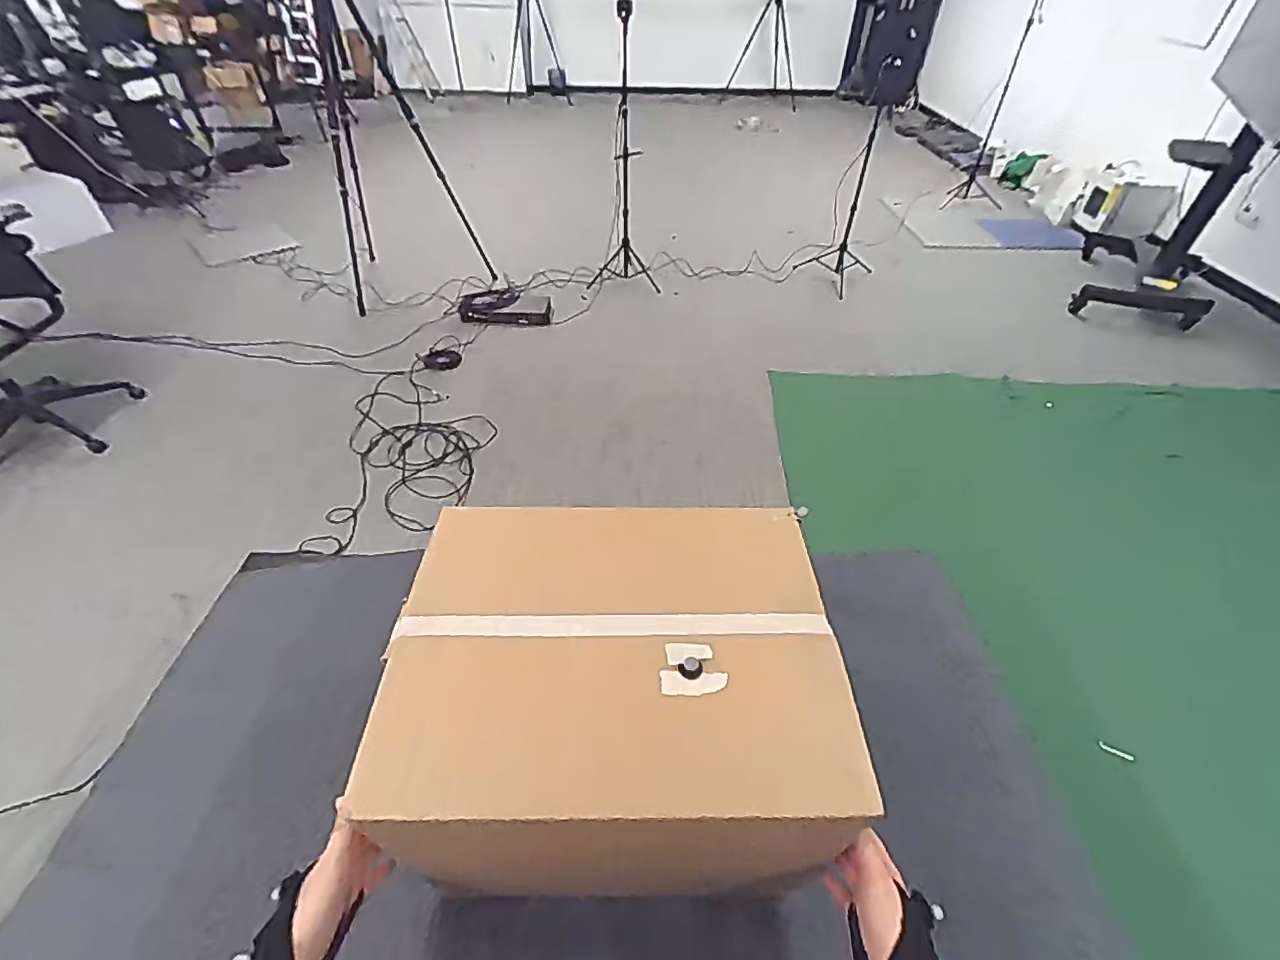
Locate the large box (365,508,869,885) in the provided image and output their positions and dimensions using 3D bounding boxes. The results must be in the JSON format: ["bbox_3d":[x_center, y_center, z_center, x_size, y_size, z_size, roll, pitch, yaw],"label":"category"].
[{"bbox_3d":[-0.023,0.247,0.628,0.408,0.320,0.320,0,45,-1],"label":"large box"}]
